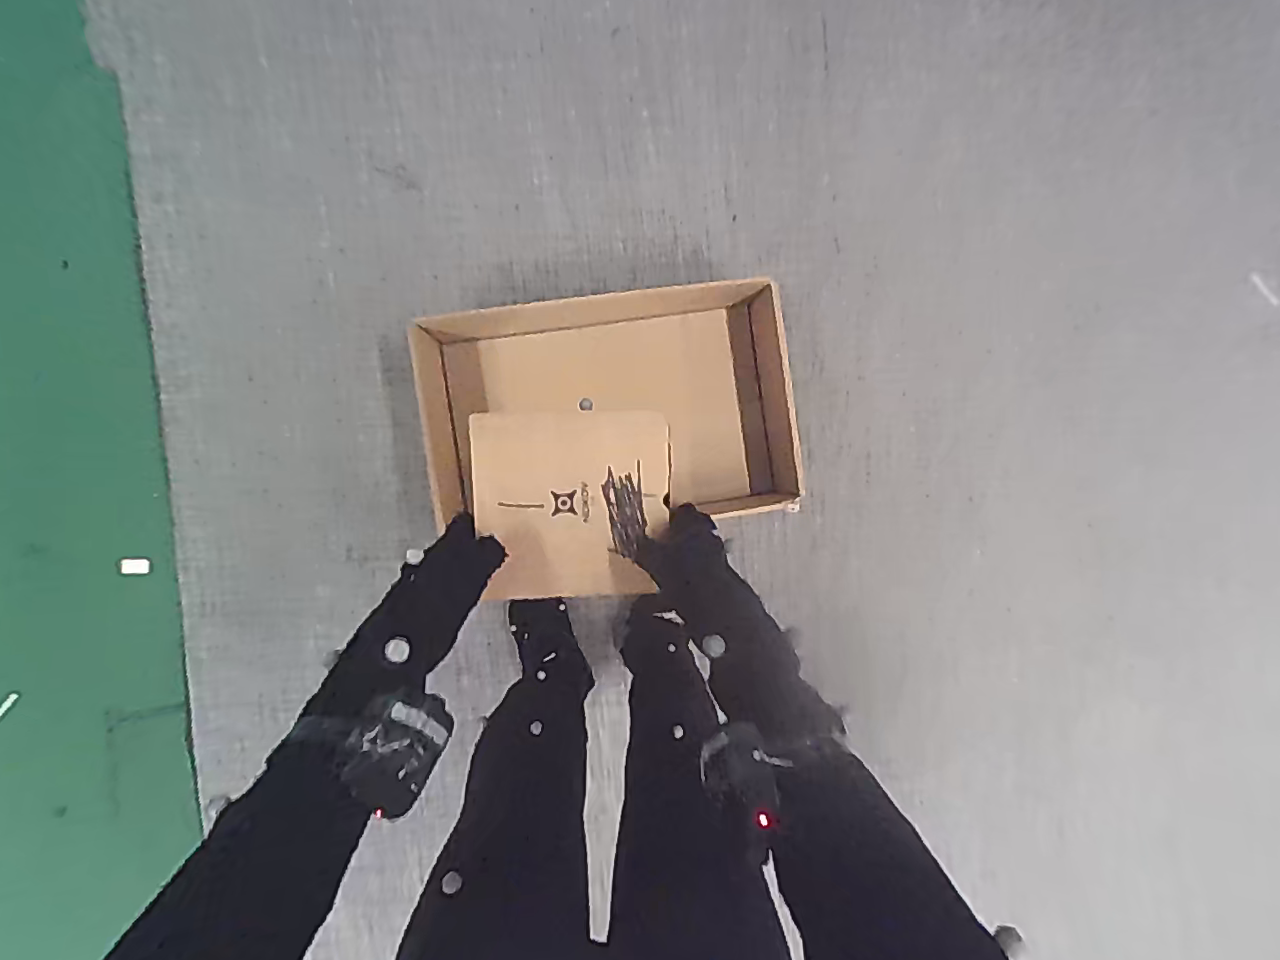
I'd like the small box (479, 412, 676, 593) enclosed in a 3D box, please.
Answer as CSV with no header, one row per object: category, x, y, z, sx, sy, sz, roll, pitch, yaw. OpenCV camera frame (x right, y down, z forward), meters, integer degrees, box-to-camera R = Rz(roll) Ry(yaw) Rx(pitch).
small box,-0.059,0.015,0.573,0.179,0.176,0.168,-2,93,-2
